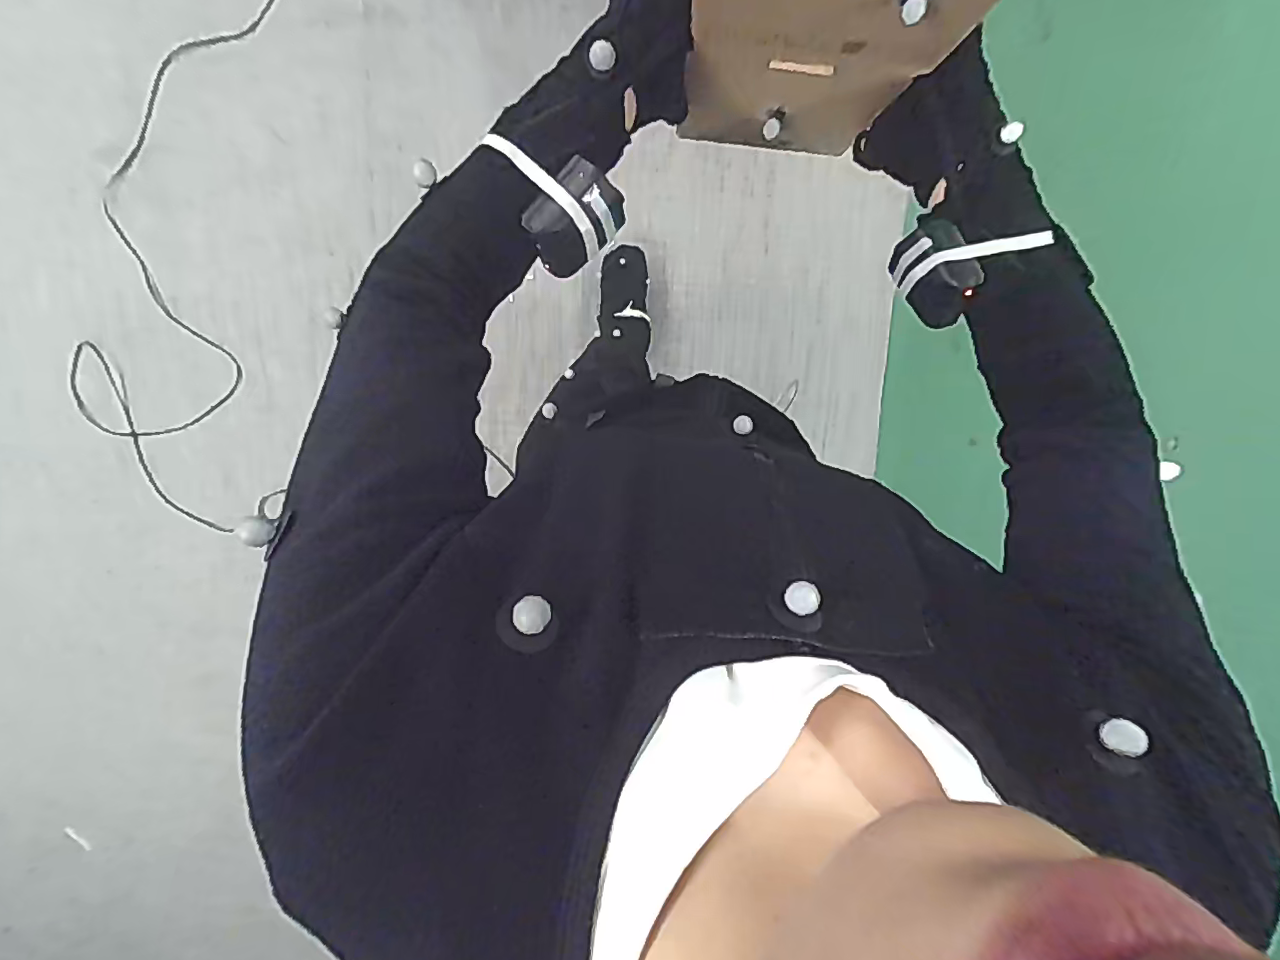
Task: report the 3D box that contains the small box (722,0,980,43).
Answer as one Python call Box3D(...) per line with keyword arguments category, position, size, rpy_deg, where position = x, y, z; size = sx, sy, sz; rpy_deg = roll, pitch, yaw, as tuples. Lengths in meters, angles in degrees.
Box3D(category="small box", position=(0.123, -0.347, 0.250), size=(0.168, 0.176, 0.179), rpy_deg=(7, 105, 1))

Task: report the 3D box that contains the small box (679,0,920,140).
Box3D(category="small box", position=(0.121, -0.395, 0.427), size=(0.168, 0.176, 0.179), rpy_deg=(5, 104, 2))
